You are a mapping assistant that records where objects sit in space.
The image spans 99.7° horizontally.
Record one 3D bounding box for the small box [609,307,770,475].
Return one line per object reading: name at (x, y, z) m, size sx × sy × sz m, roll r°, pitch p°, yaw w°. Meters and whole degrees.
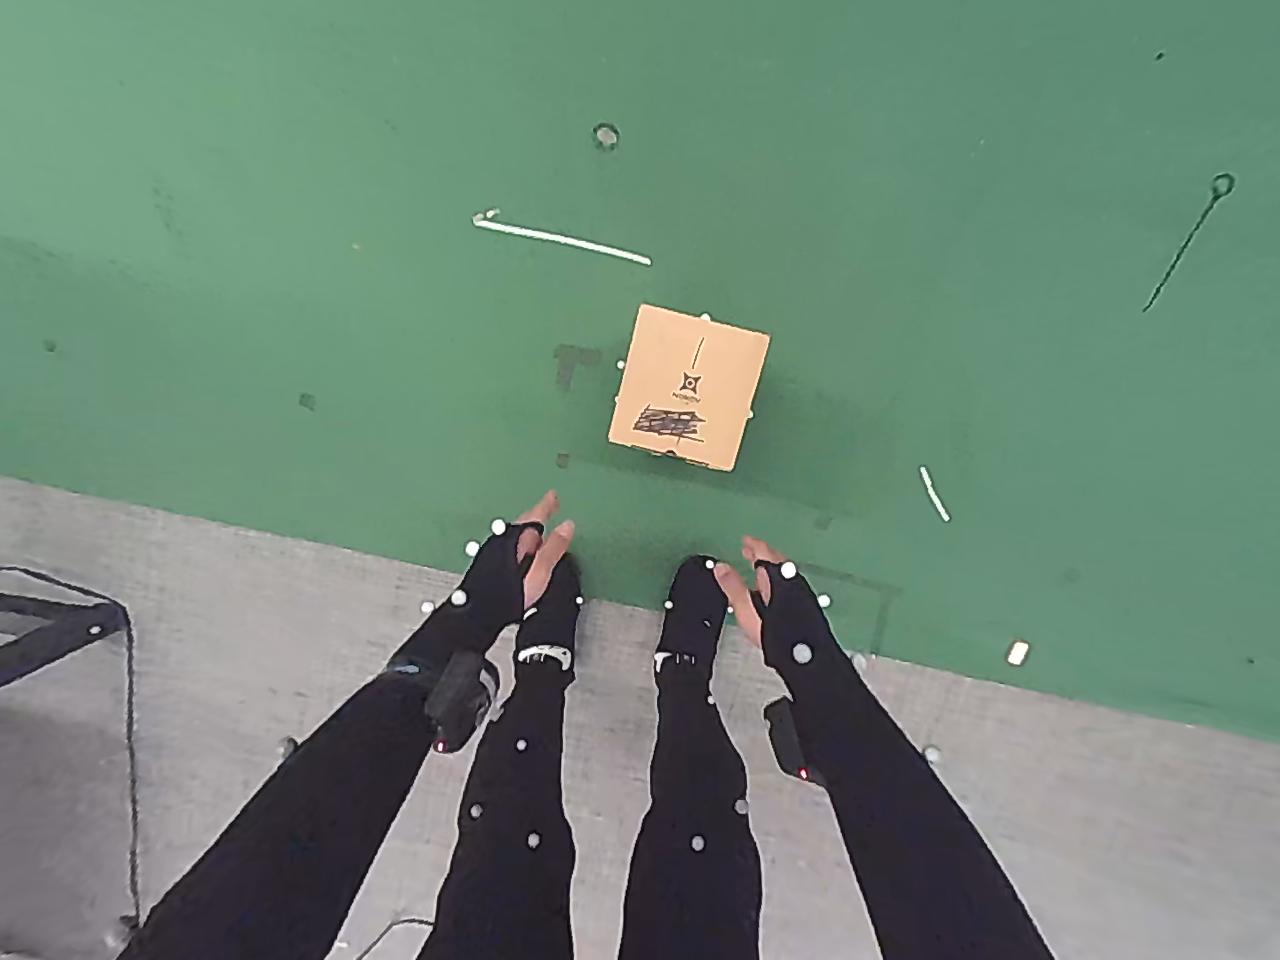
small box at (0.062, -0.123, 0.747) m, size 0.168 × 0.176 × 0.179 m, roll 14°, pitch 101°, yaw -2°
